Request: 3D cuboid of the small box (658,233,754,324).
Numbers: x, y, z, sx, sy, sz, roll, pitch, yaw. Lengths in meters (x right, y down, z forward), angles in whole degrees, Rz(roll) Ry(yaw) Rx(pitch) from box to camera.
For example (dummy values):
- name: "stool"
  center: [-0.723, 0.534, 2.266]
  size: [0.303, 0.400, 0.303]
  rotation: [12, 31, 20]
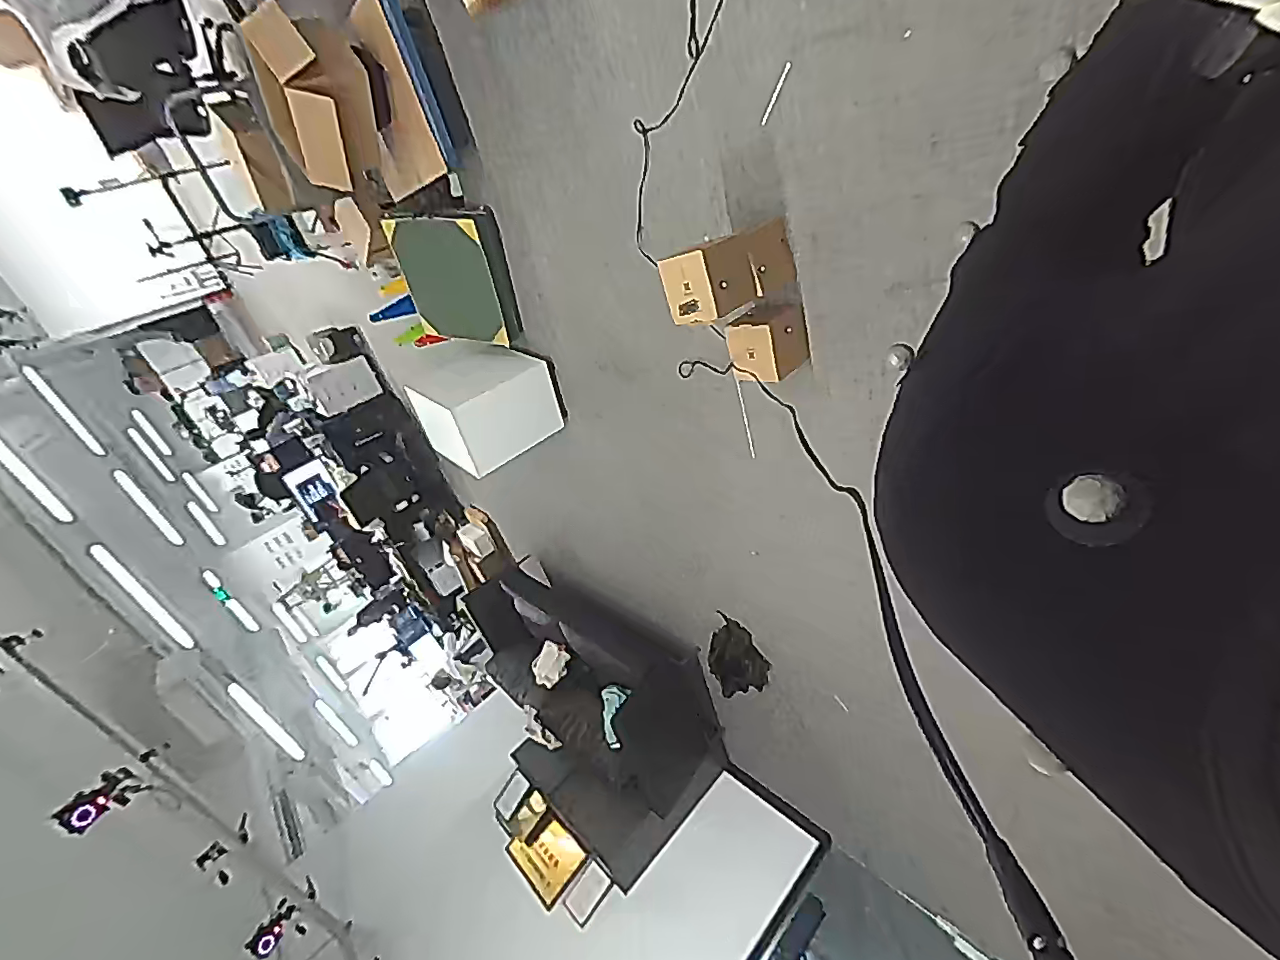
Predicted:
- name: "small box"
  center: [0.182, -0.535, 1.443]
  size: [0.168, 0.176, 0.179]
  rotation: [12, 129, 49]
